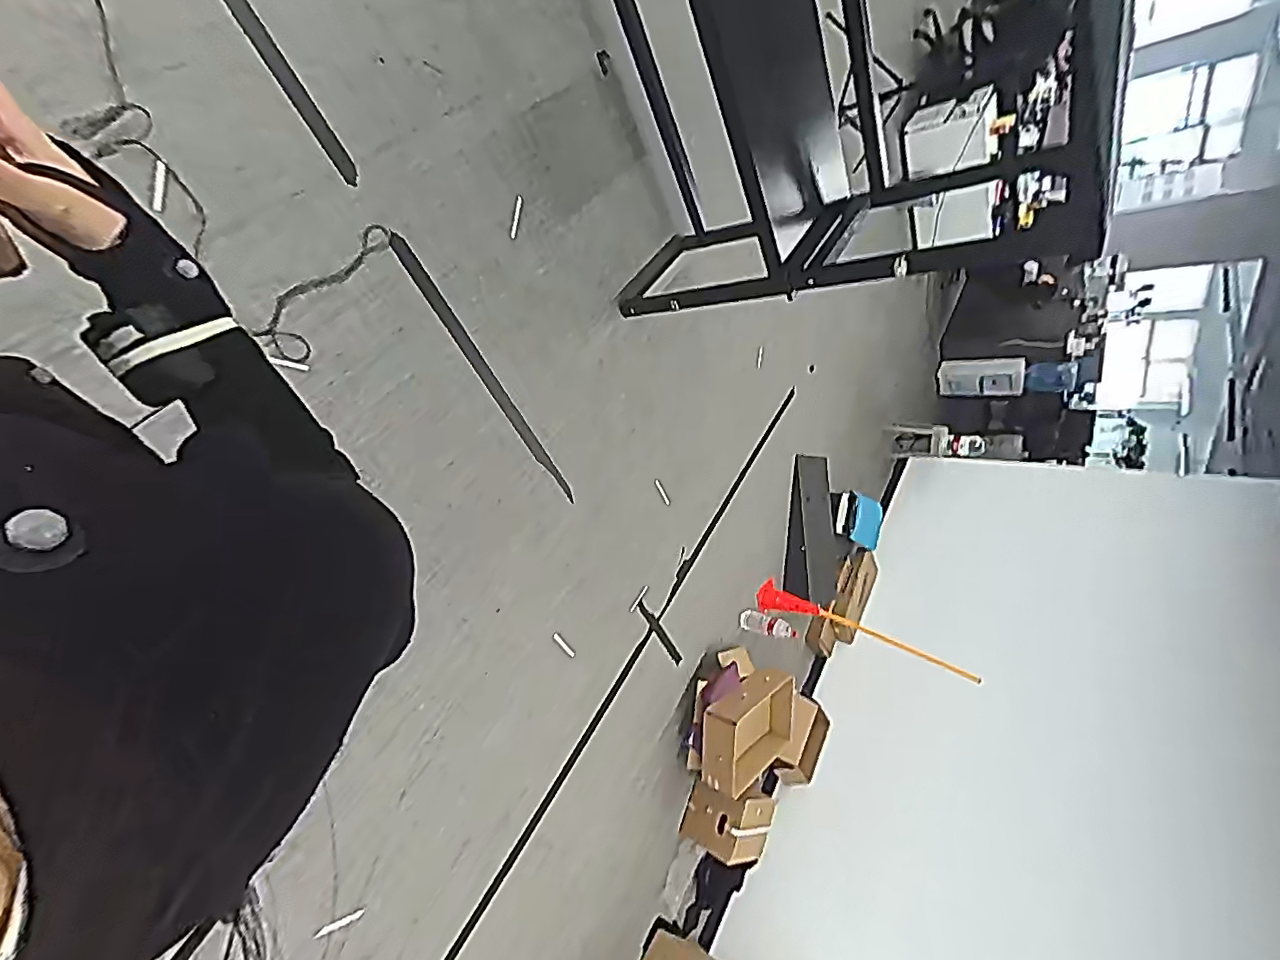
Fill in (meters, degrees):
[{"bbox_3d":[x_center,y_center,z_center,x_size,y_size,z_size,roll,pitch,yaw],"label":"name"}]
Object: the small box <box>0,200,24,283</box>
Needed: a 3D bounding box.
[{"bbox_3d":[-0.428,-0.175,0.229,0.168,0.176,0.179,-32,117,-38],"label":"small box"}]
